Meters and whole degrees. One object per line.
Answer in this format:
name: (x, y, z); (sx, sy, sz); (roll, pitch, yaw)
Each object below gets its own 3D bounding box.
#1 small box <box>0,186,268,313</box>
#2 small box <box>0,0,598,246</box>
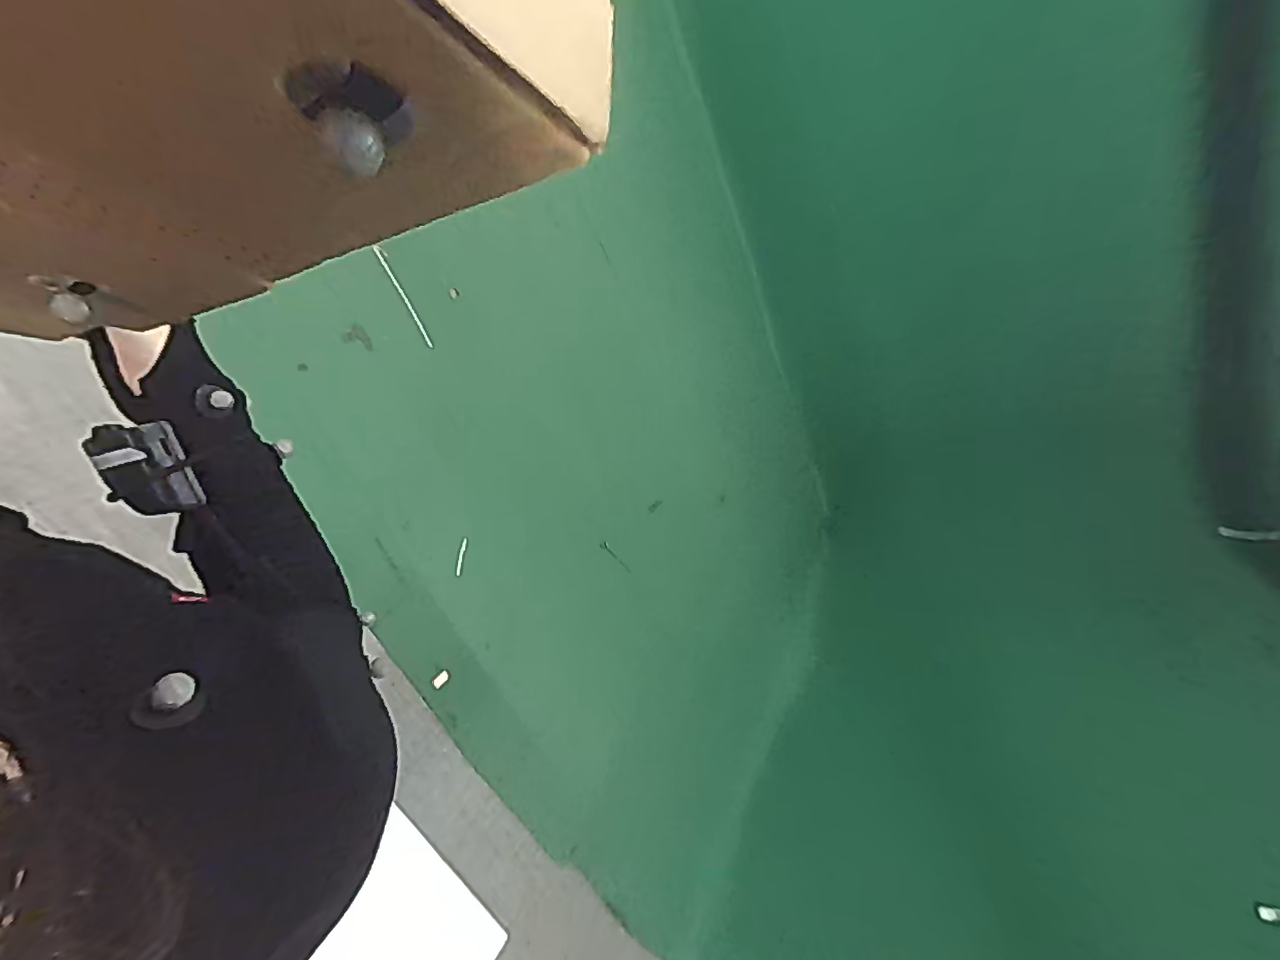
small box: (-0.258, -0.163, 0.182); (0.179, 0.176, 0.168); (-1, 93, -56)
small box: (-0.123, -0.161, 0.091); (0.179, 0.176, 0.168); (3, 89, -57)
